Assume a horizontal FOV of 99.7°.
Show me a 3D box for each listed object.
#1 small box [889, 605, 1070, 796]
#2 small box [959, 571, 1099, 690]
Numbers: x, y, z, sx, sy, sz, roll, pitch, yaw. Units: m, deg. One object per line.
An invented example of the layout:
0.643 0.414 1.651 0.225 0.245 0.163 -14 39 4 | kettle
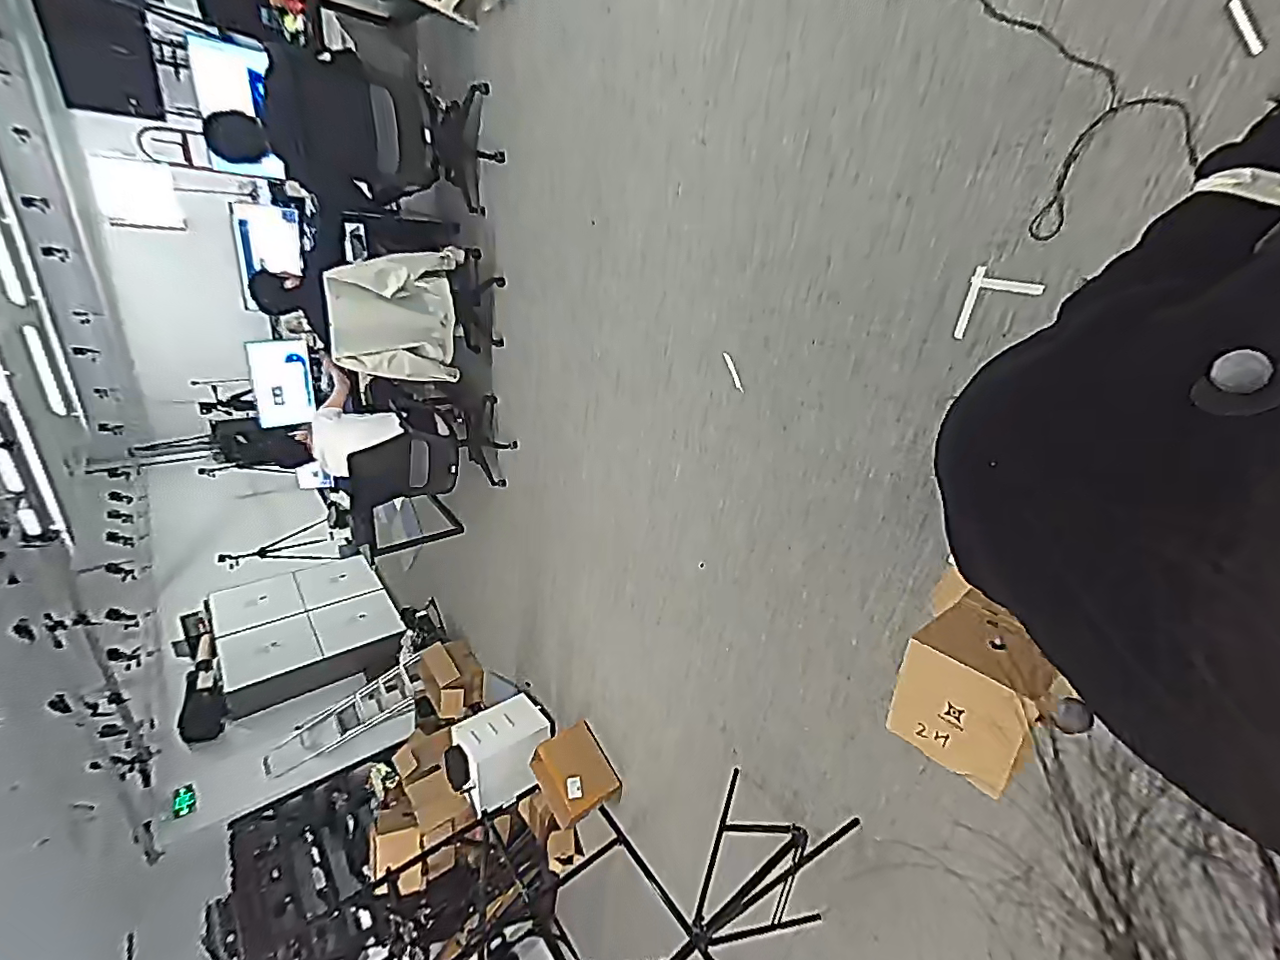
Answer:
0.511 0.316 0.816 0.168 0.176 0.179 26 121 46 | small box
0.636 0.280 0.918 0.168 0.176 0.179 31 125 44 | small box
